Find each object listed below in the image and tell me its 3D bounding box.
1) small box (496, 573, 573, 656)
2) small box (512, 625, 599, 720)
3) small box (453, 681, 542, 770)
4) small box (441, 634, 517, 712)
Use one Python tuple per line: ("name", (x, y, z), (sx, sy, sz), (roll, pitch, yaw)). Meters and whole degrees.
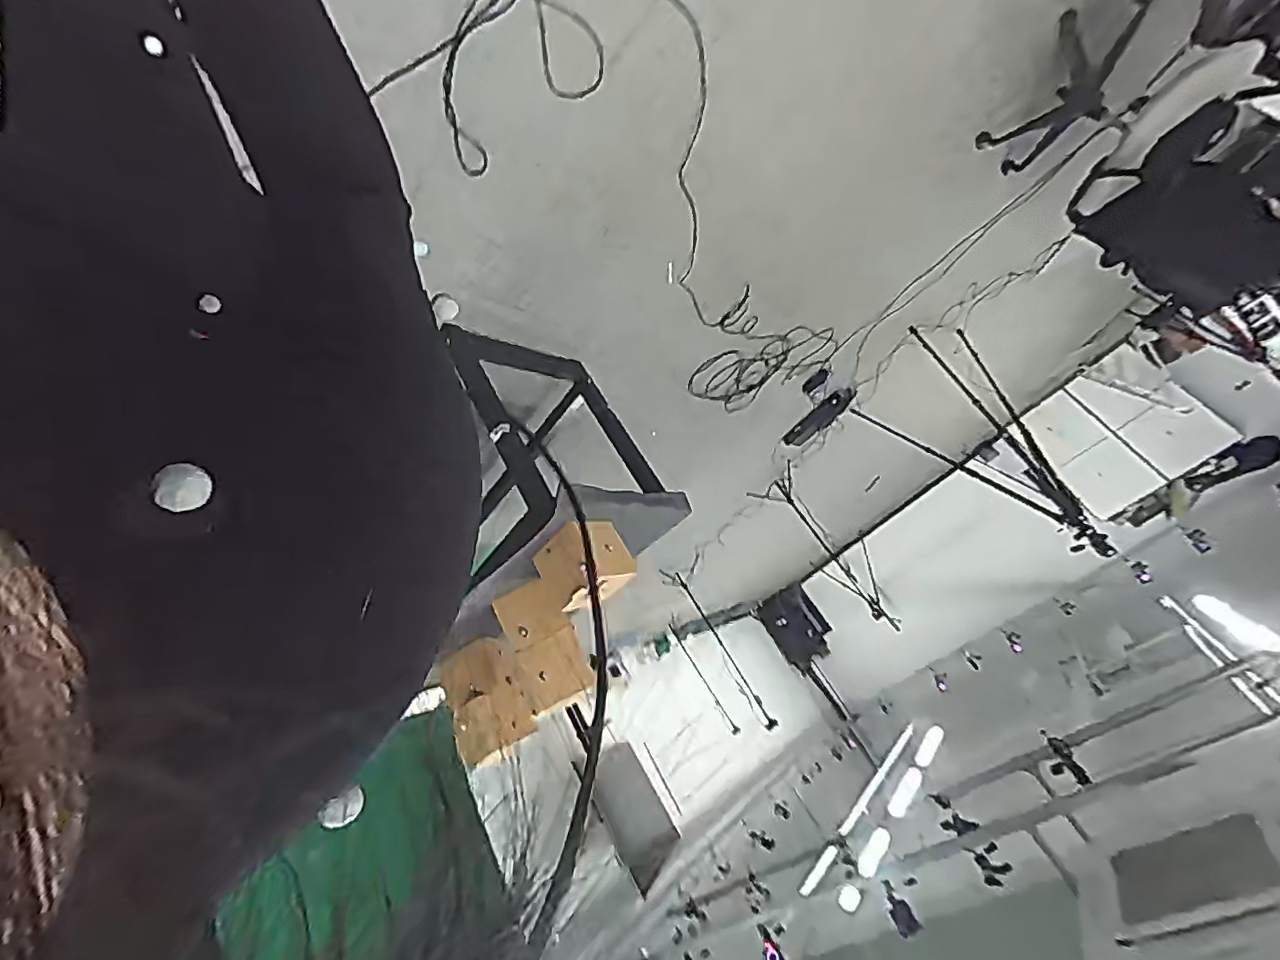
("small box", (-0.310, 0.401, 1.578), (0.179, 0.176, 0.168), (-25, 156, -19))
("small box", (-0.243, 0.535, 1.514), (0.179, 0.176, 0.168), (-20, 154, -30))
("small box", (-0.442, 0.748, 1.665), (0.179, 0.176, 0.168), (-2, 141, -50))
("small box", (-0.515, 0.621, 1.742), (0.179, 0.176, 0.168), (-34, 156, 0))
